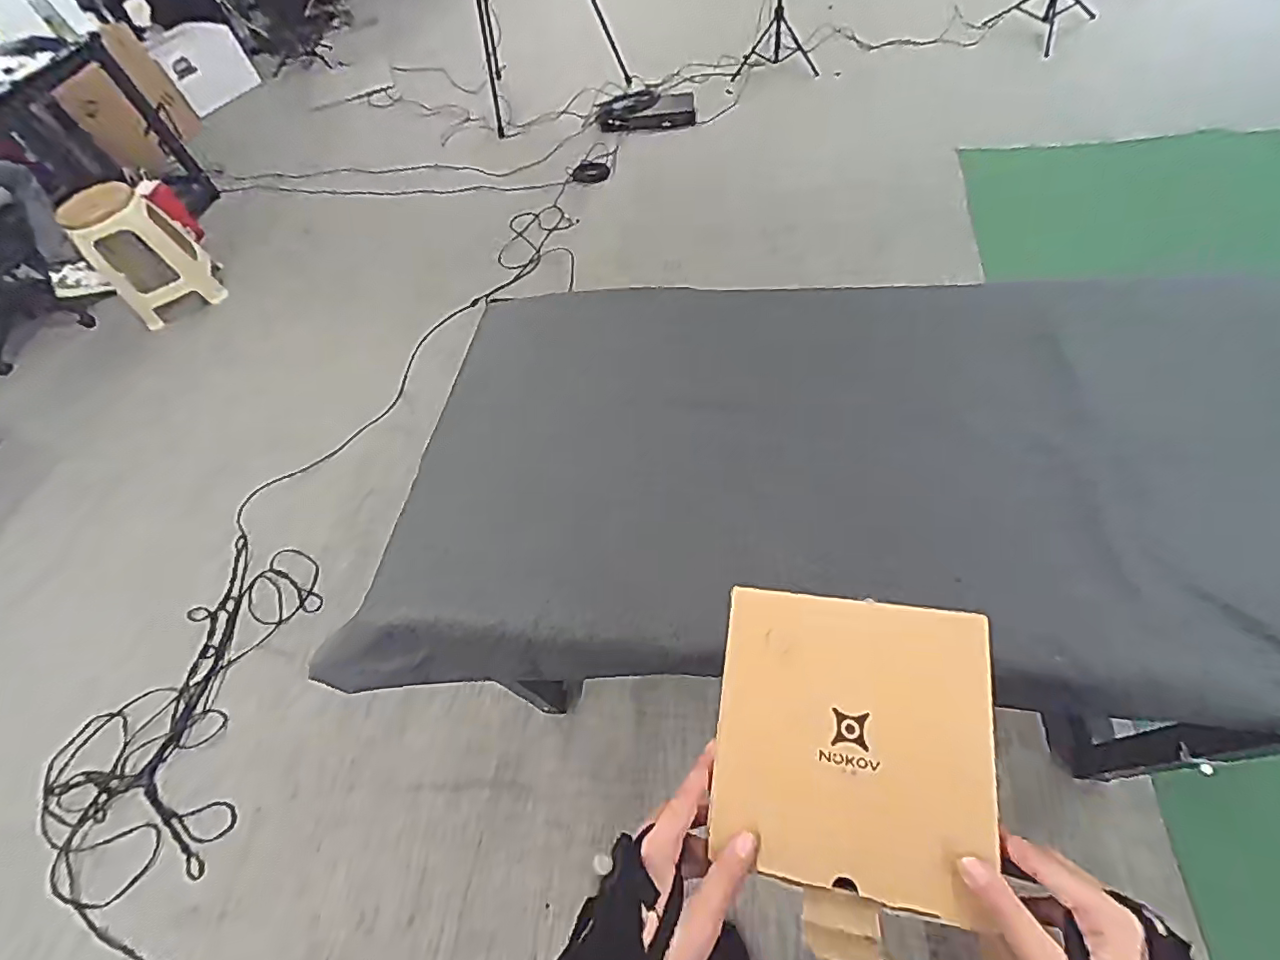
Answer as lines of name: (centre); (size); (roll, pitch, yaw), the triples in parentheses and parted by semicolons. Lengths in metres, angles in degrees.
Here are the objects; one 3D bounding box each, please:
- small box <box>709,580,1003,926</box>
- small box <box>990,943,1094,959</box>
small box: (0.150, 0.186, 0.416); (0.168, 0.176, 0.179); (4, 71, 15)
small box: (0.676, 0.848, 0.843); (0.179, 0.176, 0.168); (1, 56, 11)
